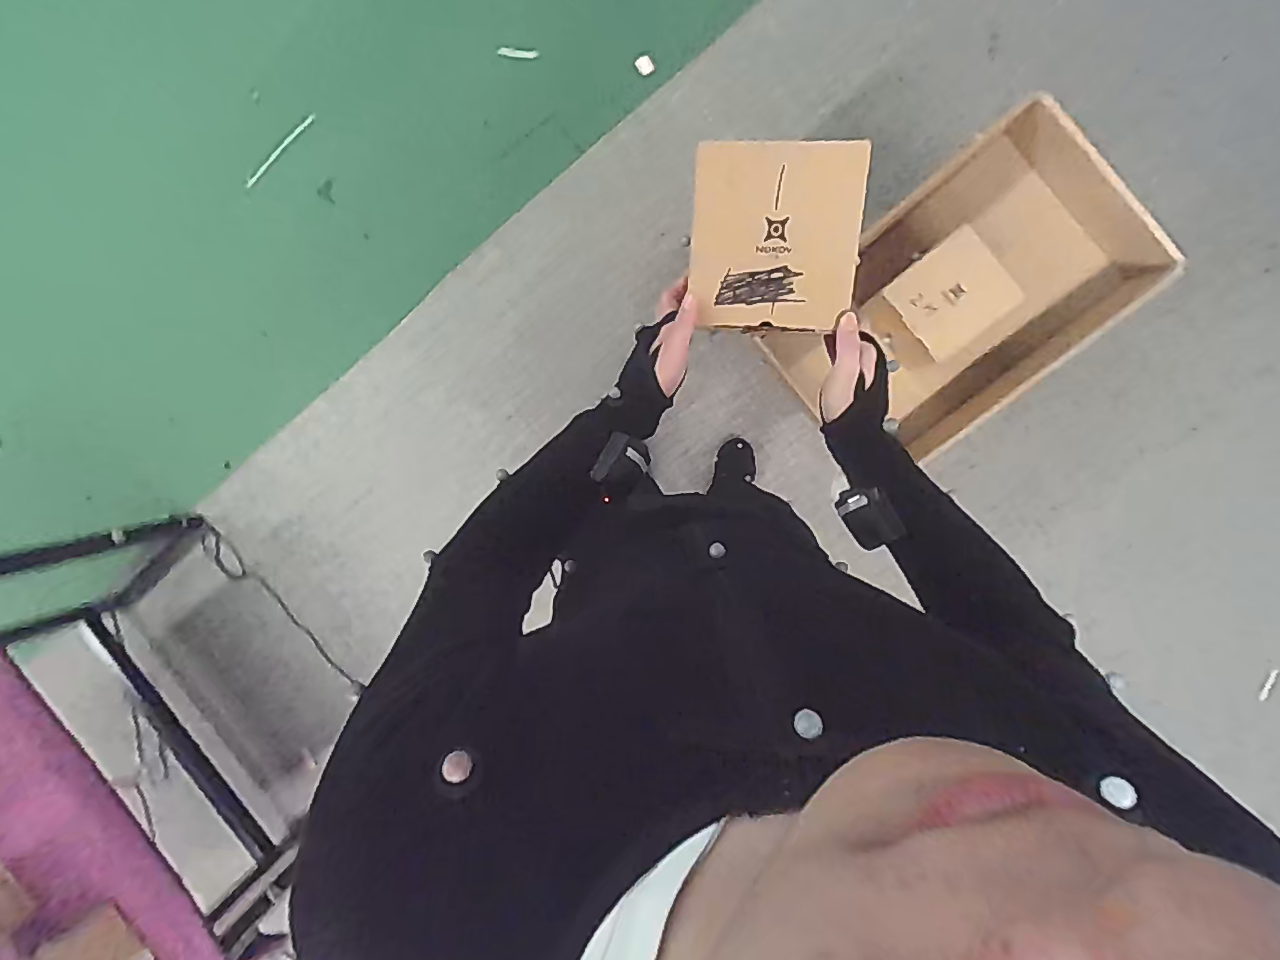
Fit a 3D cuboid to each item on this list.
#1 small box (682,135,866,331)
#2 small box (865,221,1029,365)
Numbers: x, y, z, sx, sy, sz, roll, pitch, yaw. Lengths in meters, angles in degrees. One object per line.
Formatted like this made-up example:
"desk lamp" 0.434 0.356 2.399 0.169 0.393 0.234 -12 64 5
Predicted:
"small box" 0.137 -0.260 0.607 0.168 0.176 0.179 3 104 5
"small box" 0.556 -0.335 1.006 0.179 0.176 0.168 -39 90 11
